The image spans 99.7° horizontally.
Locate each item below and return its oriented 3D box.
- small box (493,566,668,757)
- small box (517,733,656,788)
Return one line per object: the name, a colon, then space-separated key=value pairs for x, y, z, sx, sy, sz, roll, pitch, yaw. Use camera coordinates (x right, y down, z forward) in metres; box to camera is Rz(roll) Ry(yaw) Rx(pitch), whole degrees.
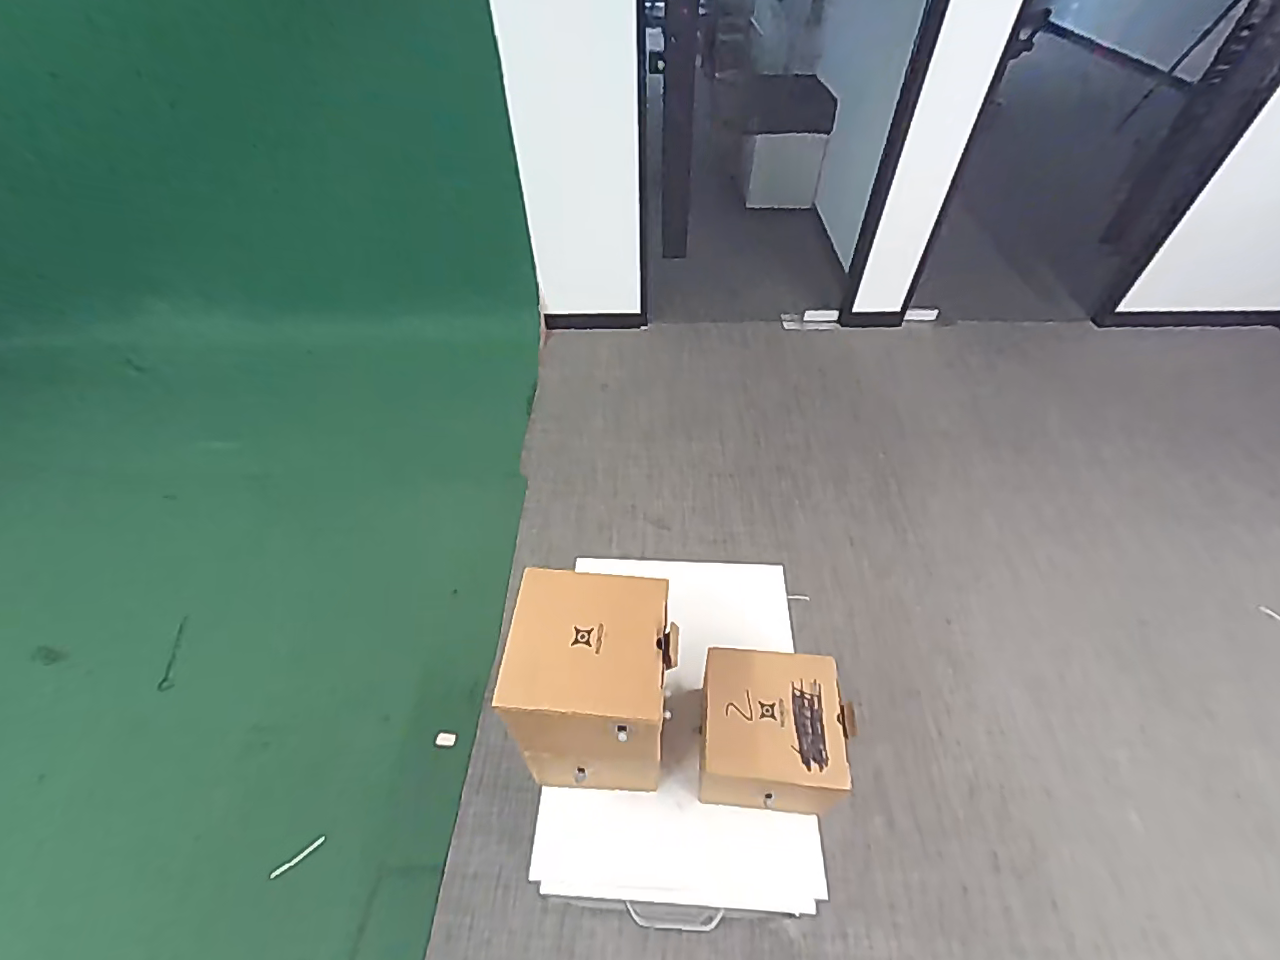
small box: x=-0.061 y=0.224 z=0.661 sx=0.179 sy=0.176 sz=0.168 roll=5 pitch=48 yaw=1
small box: x=-0.064 y=0.333 z=0.782 sx=0.179 sy=0.176 sz=0.168 roll=3 pitch=49 yaw=1
